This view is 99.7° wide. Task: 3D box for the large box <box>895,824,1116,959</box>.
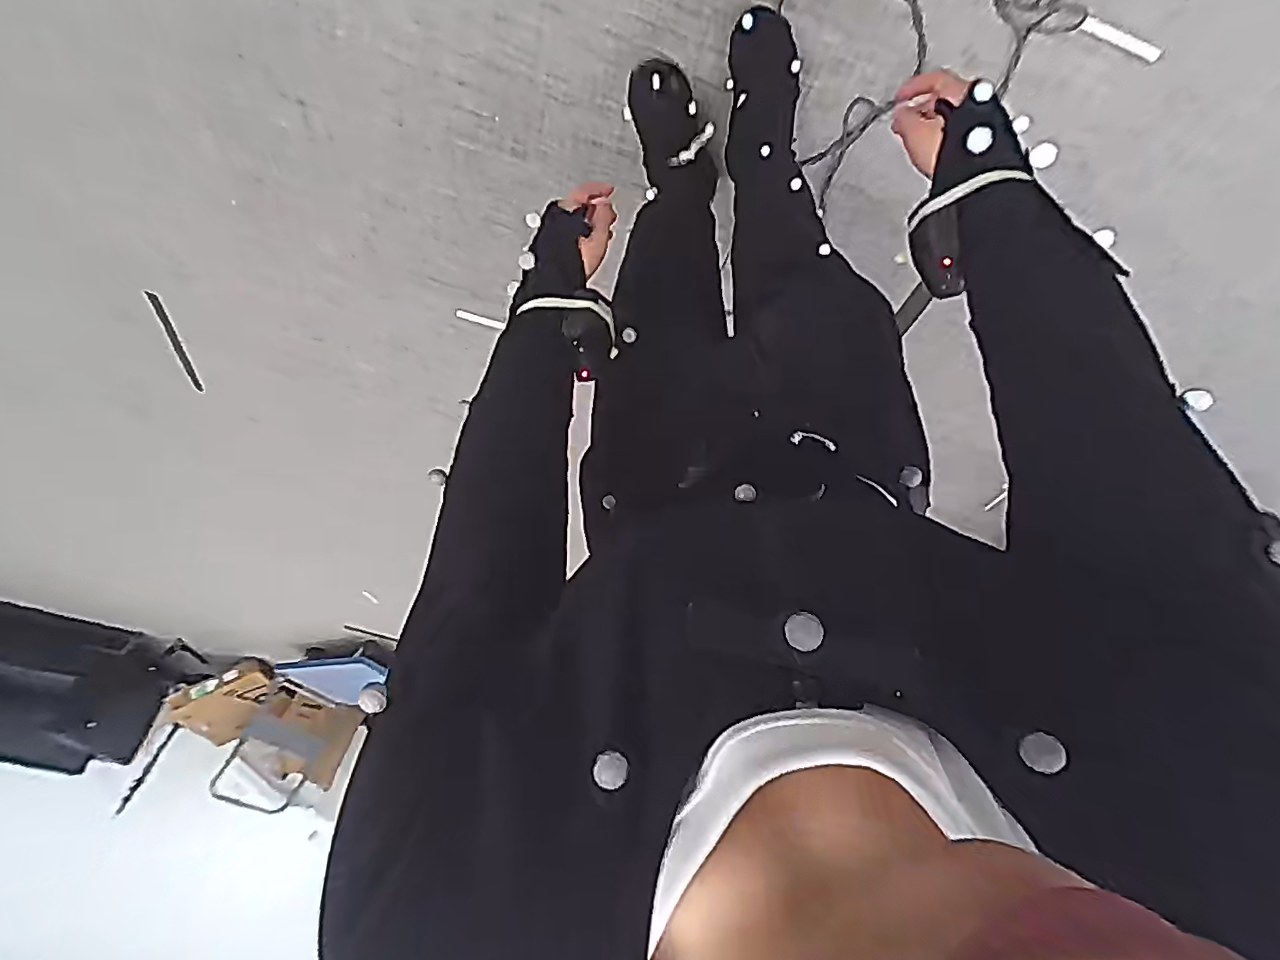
[{"bbox_3d":[1.034,1.229,1.572,0.408,0.320,0.320,15,140,-6],"label":"large box"}]
